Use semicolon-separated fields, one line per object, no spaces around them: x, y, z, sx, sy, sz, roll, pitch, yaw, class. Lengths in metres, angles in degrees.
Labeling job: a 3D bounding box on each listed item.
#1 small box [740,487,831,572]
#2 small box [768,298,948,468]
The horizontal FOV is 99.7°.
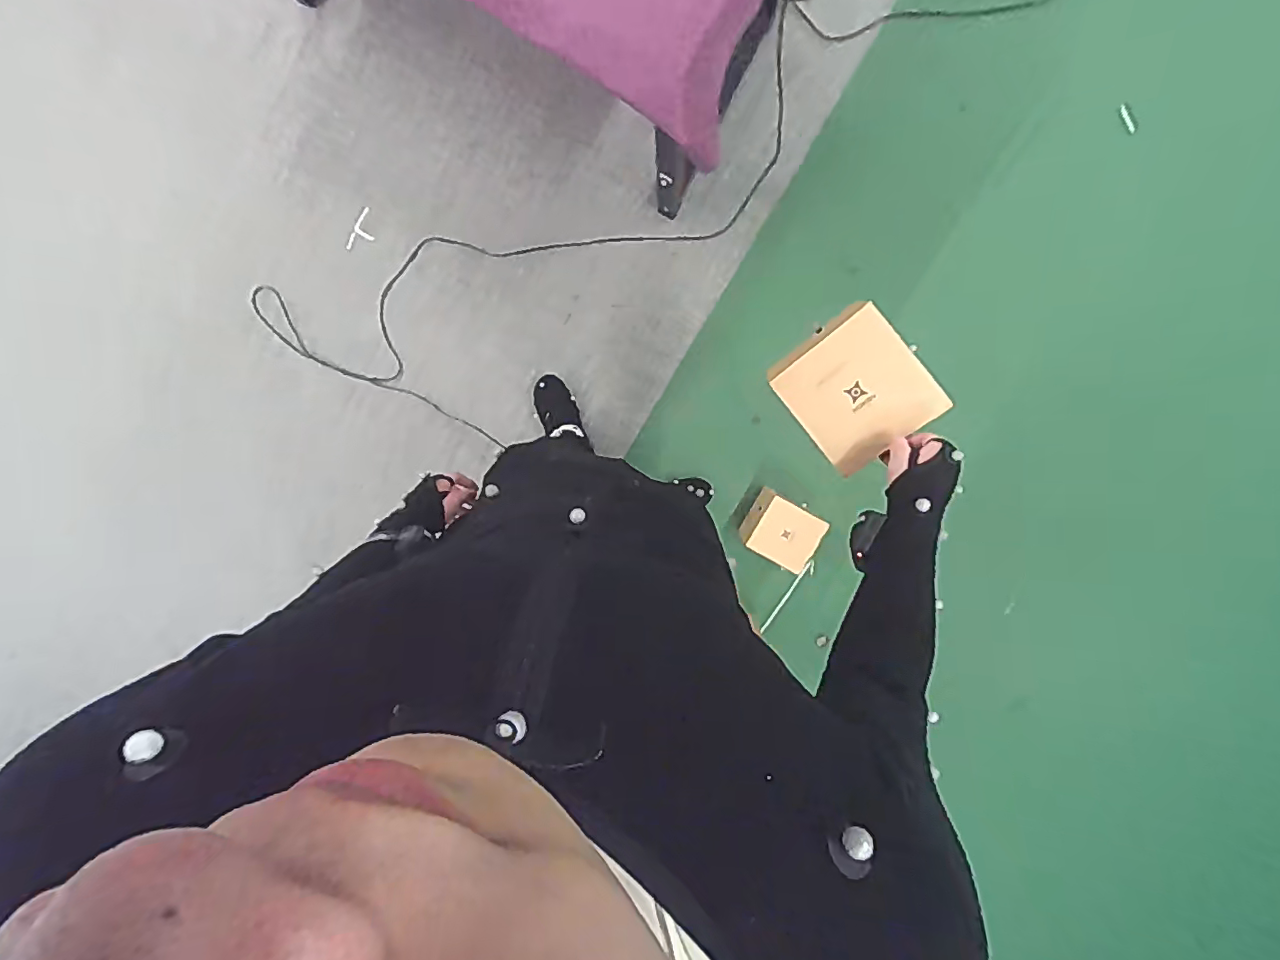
0.407;0.134;1.556;0.179;0.176;0.168;29;99;-4;small box
0.310;-0.150;0.801;0.168;0.176;0.179;-38;95;21;small box
